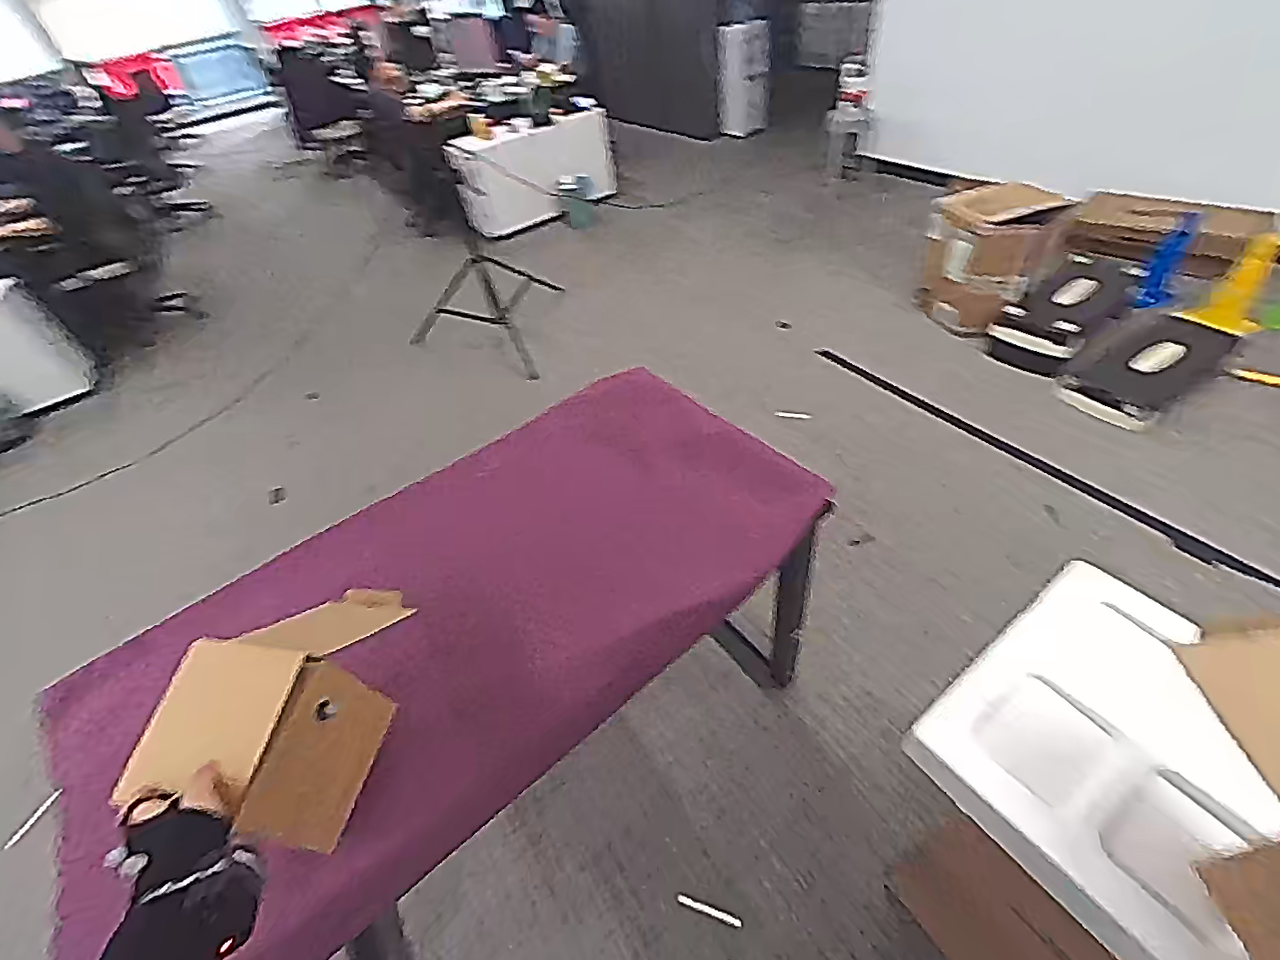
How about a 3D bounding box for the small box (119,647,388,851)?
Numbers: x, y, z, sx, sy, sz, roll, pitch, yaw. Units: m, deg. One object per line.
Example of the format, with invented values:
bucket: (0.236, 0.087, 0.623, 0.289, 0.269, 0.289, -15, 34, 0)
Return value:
small box: (-0.447, 0.328, 0.665, 0.168, 0.176, 0.179, -1, 49, 16)
